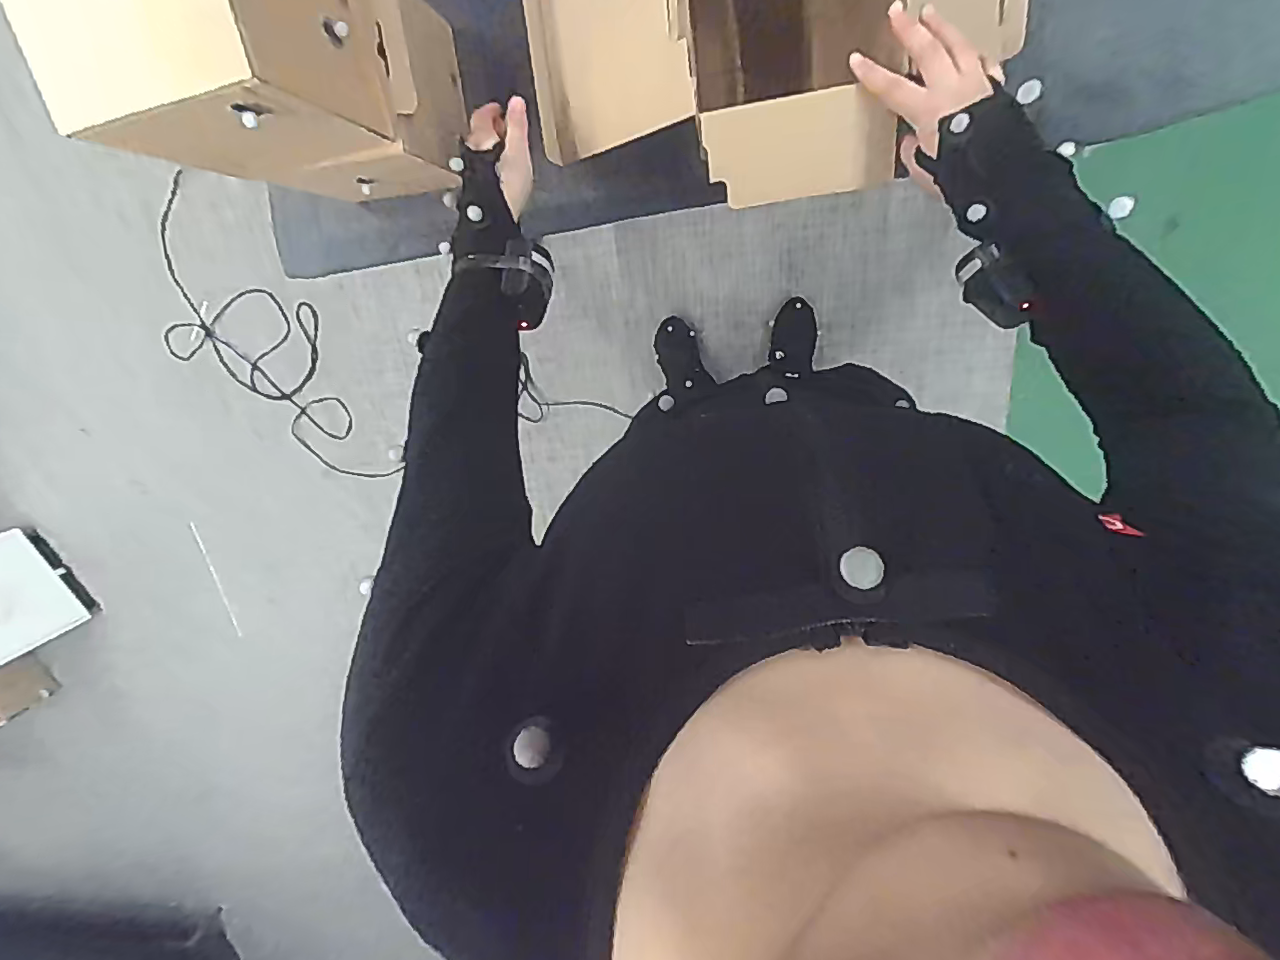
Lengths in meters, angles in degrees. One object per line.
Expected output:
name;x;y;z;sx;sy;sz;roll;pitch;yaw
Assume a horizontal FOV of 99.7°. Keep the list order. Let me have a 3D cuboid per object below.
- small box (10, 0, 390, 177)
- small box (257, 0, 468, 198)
small box;-0.344;-0.365;0.436;0.179;0.176;0.168;-7;108;11
small box;-0.305;-0.416;0.586;0.179;0.176;0.168;-2;109;10
